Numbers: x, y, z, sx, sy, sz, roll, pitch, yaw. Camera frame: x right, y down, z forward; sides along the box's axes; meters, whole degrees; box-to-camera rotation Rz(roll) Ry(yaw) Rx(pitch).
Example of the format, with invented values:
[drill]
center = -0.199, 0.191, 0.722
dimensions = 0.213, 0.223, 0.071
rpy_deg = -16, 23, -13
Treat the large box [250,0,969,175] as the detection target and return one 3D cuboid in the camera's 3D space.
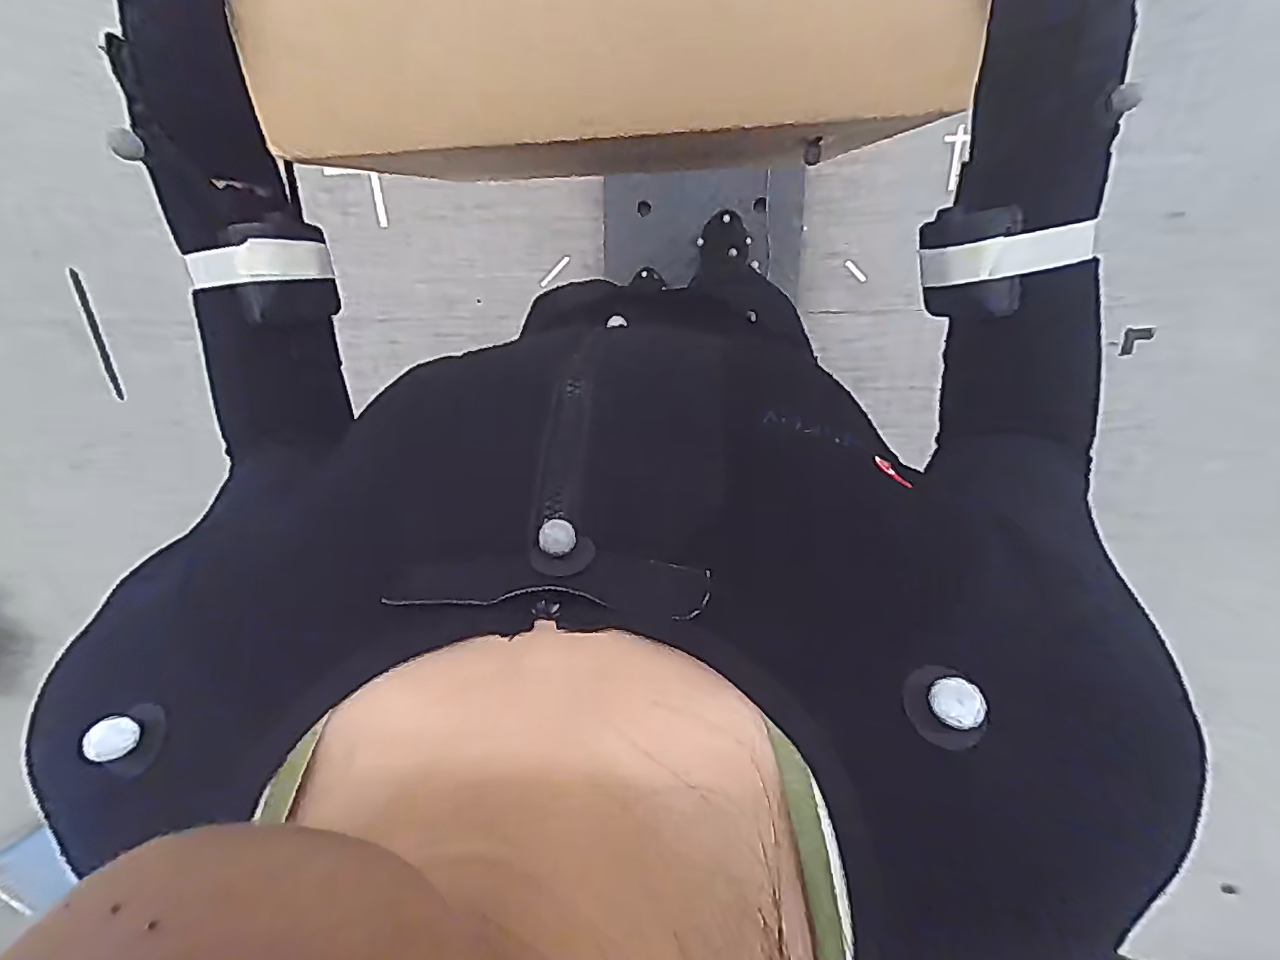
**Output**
[large box]
center = -0.017, -0.413, 0.388
dimensions = 0.408, 0.320, 0.320
rpy_deg = -1, 116, 5
